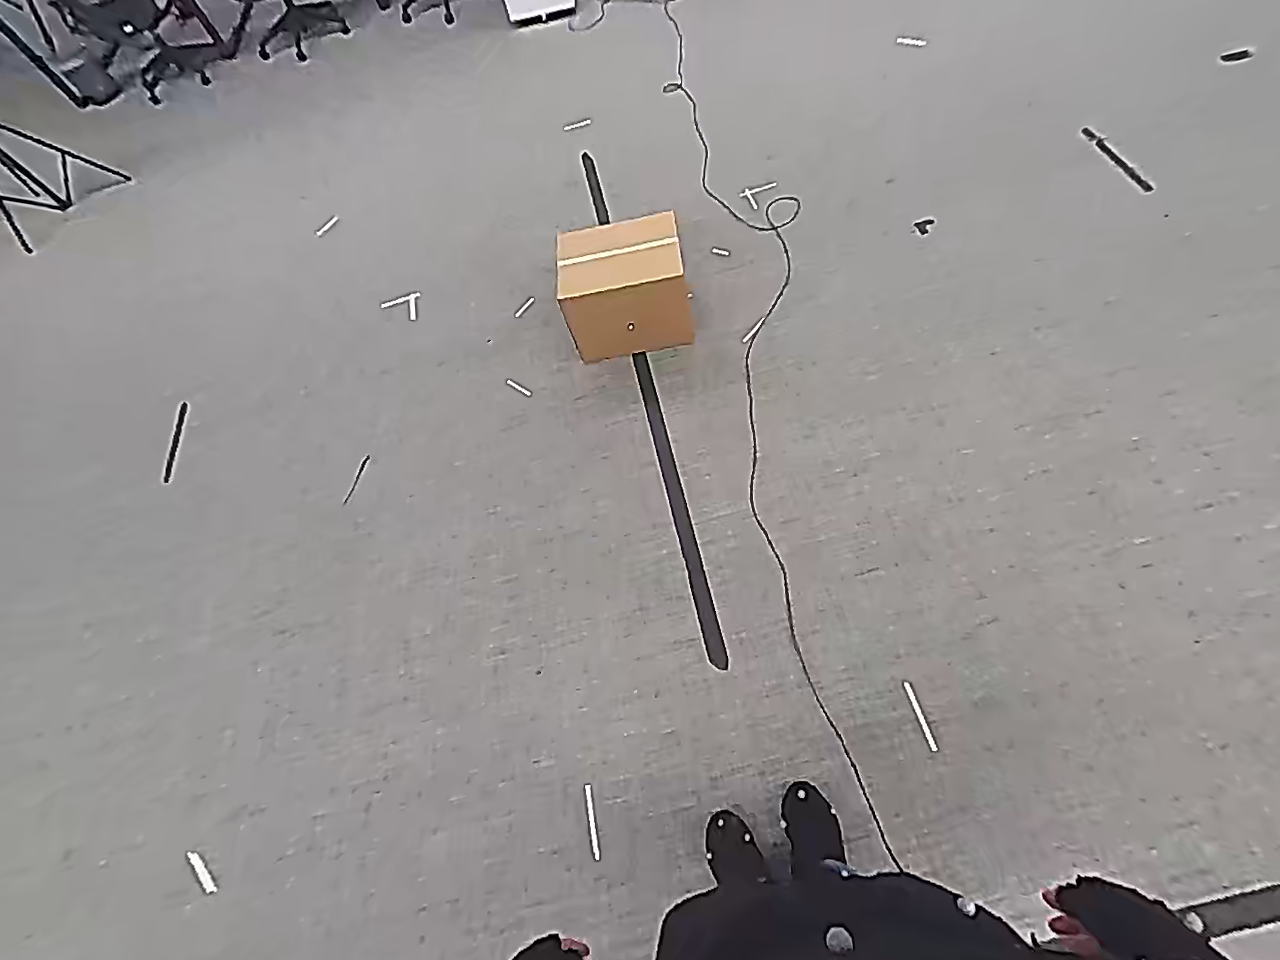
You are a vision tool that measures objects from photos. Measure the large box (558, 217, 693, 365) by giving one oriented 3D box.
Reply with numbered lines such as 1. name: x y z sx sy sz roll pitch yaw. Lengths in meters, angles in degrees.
1. large box: -0.046 -0.640 1.867 0.408 0.320 0.320 -9 61 6
